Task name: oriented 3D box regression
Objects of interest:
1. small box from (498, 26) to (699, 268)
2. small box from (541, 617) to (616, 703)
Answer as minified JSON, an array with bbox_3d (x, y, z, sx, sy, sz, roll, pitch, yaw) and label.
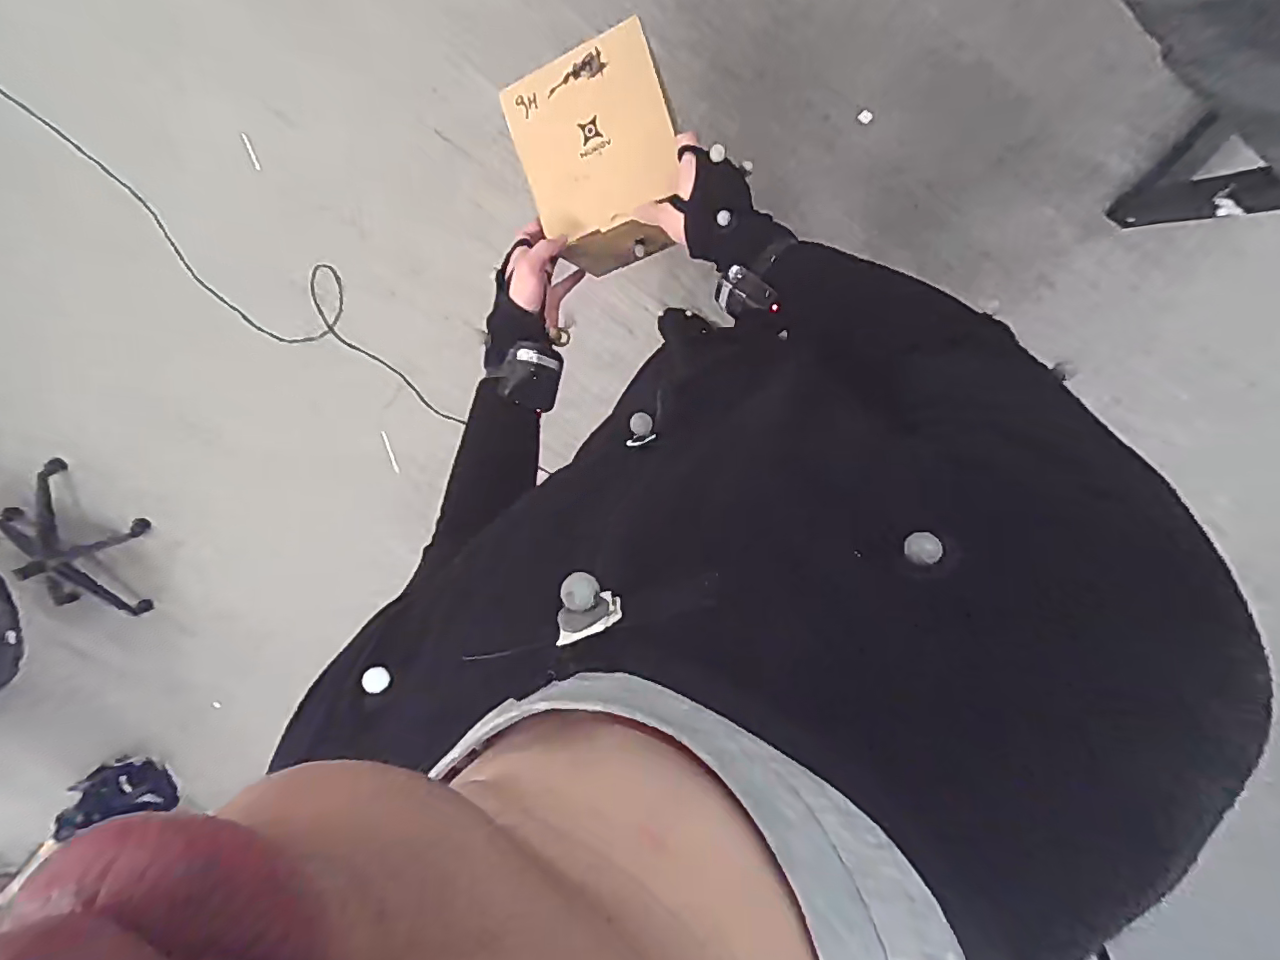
[{"bbox_3d":[-0.036,-0.373,0.653,0.168,0.176,0.179,-16,97,17],"label":"small box"},{"bbox_3d":[-0.200,0.605,1.829,0.168,0.176,0.179,39,112,-6],"label":"small box"}]
